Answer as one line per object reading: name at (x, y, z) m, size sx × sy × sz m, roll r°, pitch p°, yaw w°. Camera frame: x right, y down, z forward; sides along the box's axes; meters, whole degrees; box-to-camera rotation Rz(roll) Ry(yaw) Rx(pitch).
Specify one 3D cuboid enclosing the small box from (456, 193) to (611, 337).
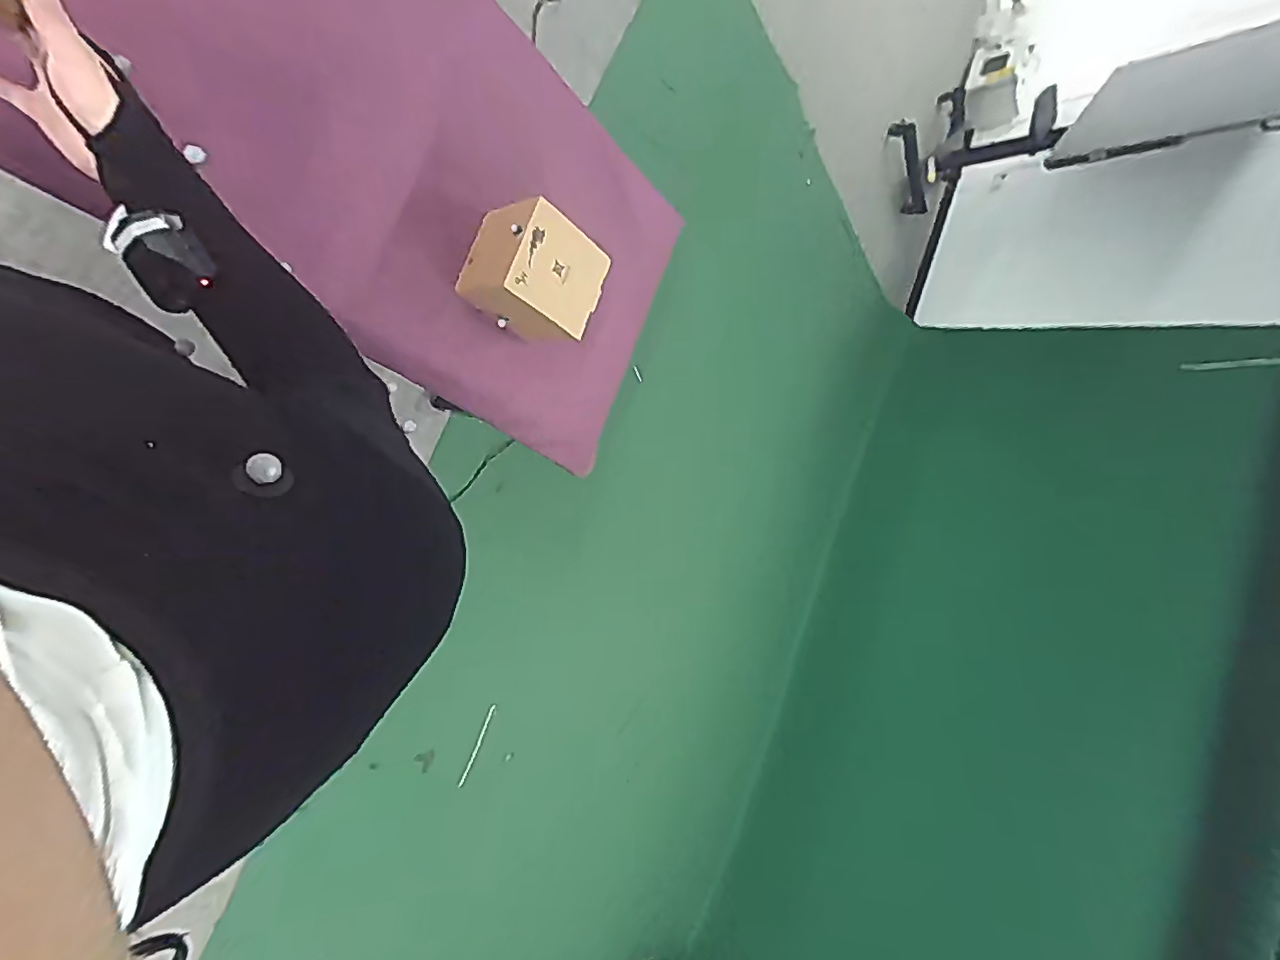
small box at (-0.190, -0.373, 0.964) m, size 0.179 × 0.176 × 0.168 m, roll 28°, pitch 80°, yaw -46°
